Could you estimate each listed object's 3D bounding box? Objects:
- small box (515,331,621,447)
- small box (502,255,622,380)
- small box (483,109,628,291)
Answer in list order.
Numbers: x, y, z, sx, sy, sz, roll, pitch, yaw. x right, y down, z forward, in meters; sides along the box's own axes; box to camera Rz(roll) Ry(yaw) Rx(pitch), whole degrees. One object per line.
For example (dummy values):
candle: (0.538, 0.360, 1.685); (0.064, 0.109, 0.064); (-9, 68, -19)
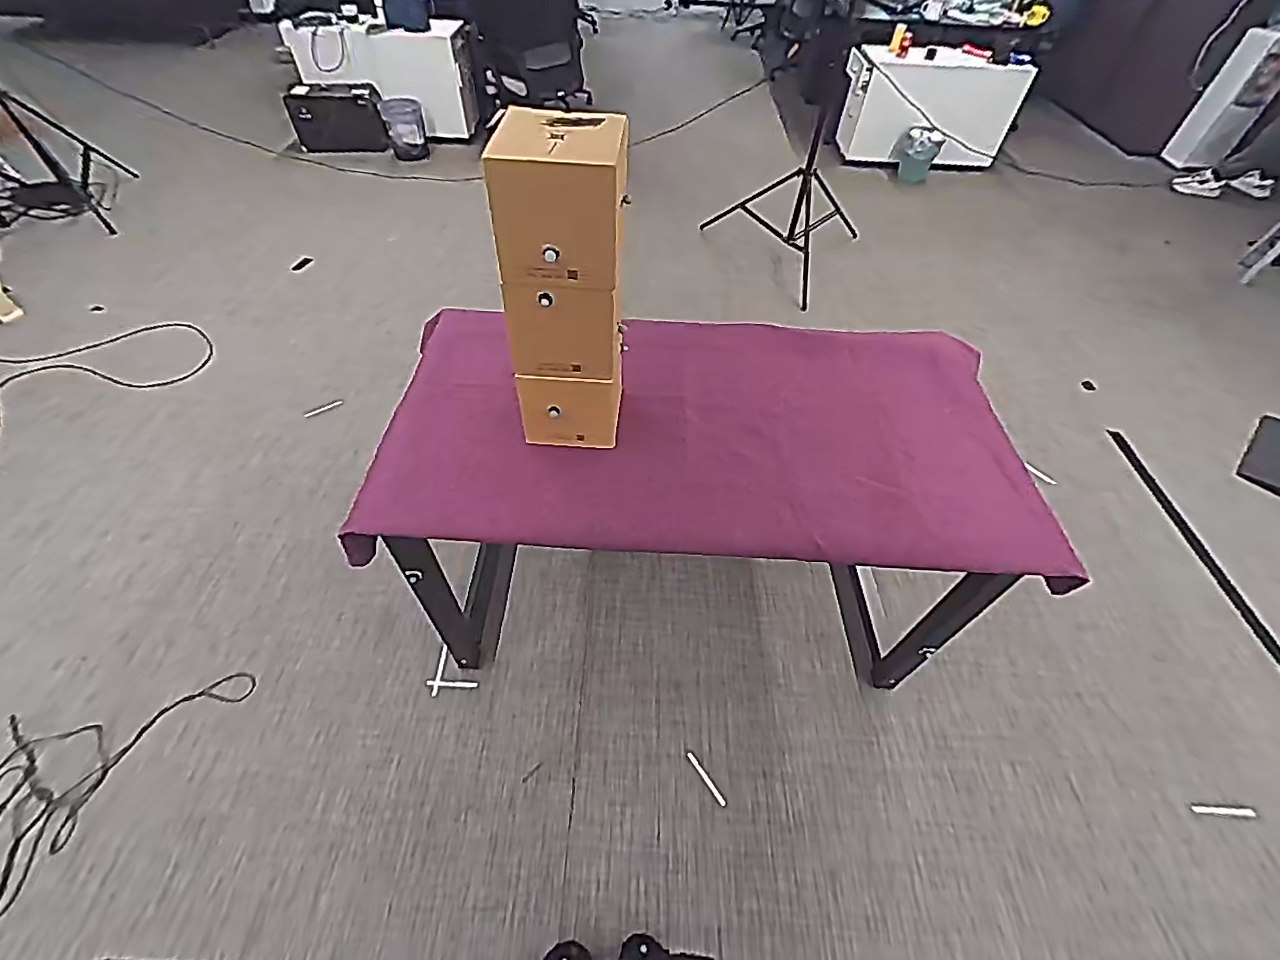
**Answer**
small box: (-0.124, -0.180, 1.010); (0.168, 0.176, 0.179); (4, 50, 0)
small box: (-0.118, -0.289, 0.888); (0.168, 0.176, 0.179); (3, 50, 0)
small box: (-0.108, -0.392, 0.760); (0.168, 0.176, 0.179); (4, 51, 0)
